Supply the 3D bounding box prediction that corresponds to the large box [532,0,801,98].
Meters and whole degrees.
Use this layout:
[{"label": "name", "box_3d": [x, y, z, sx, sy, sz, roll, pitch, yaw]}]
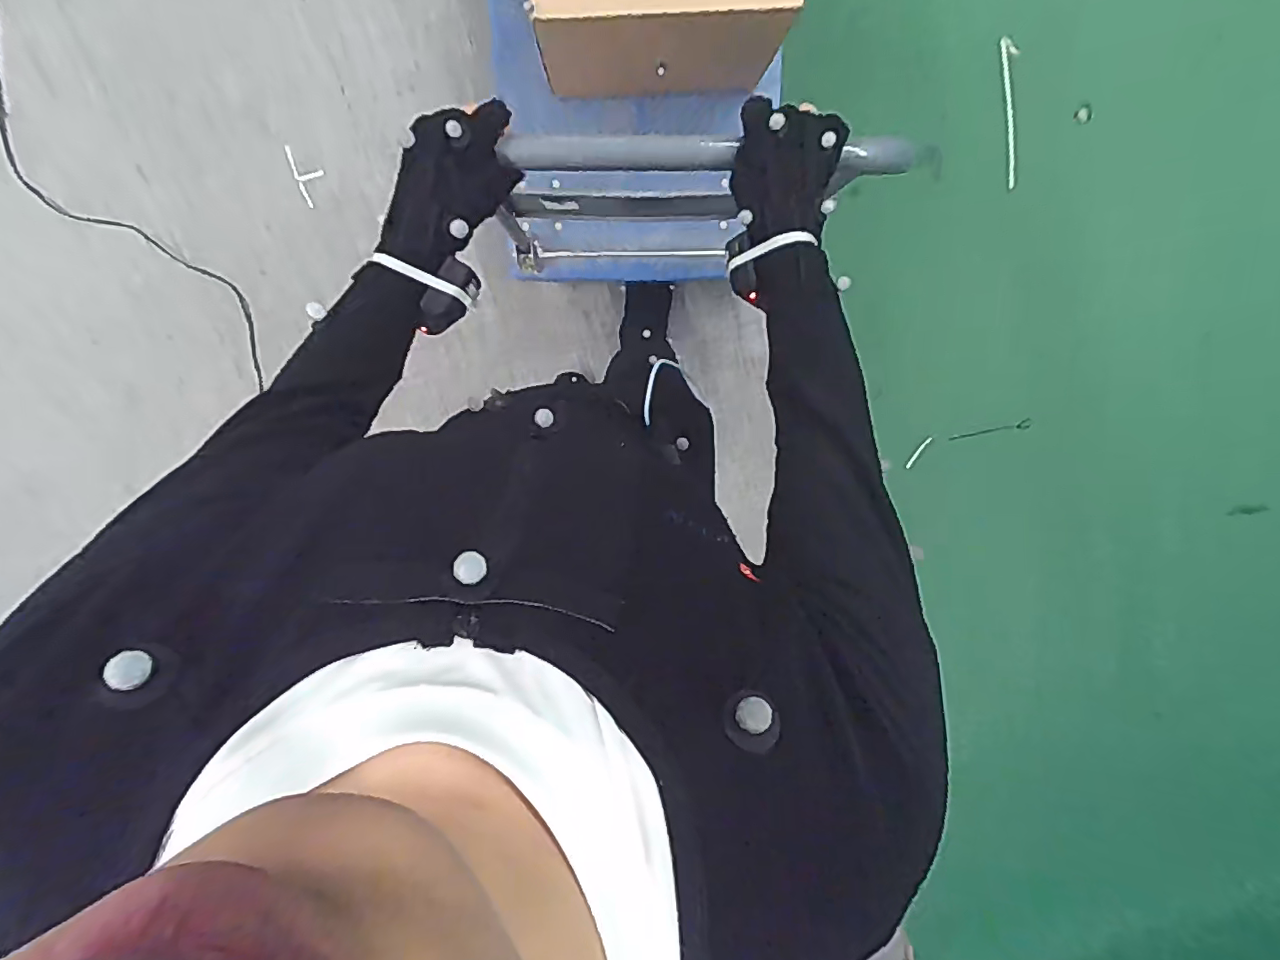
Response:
[{"label": "large box", "box_3d": [0.028, -0.876, 0.900, 0.408, 0.320, 0.320, -4, 106, -1]}]
